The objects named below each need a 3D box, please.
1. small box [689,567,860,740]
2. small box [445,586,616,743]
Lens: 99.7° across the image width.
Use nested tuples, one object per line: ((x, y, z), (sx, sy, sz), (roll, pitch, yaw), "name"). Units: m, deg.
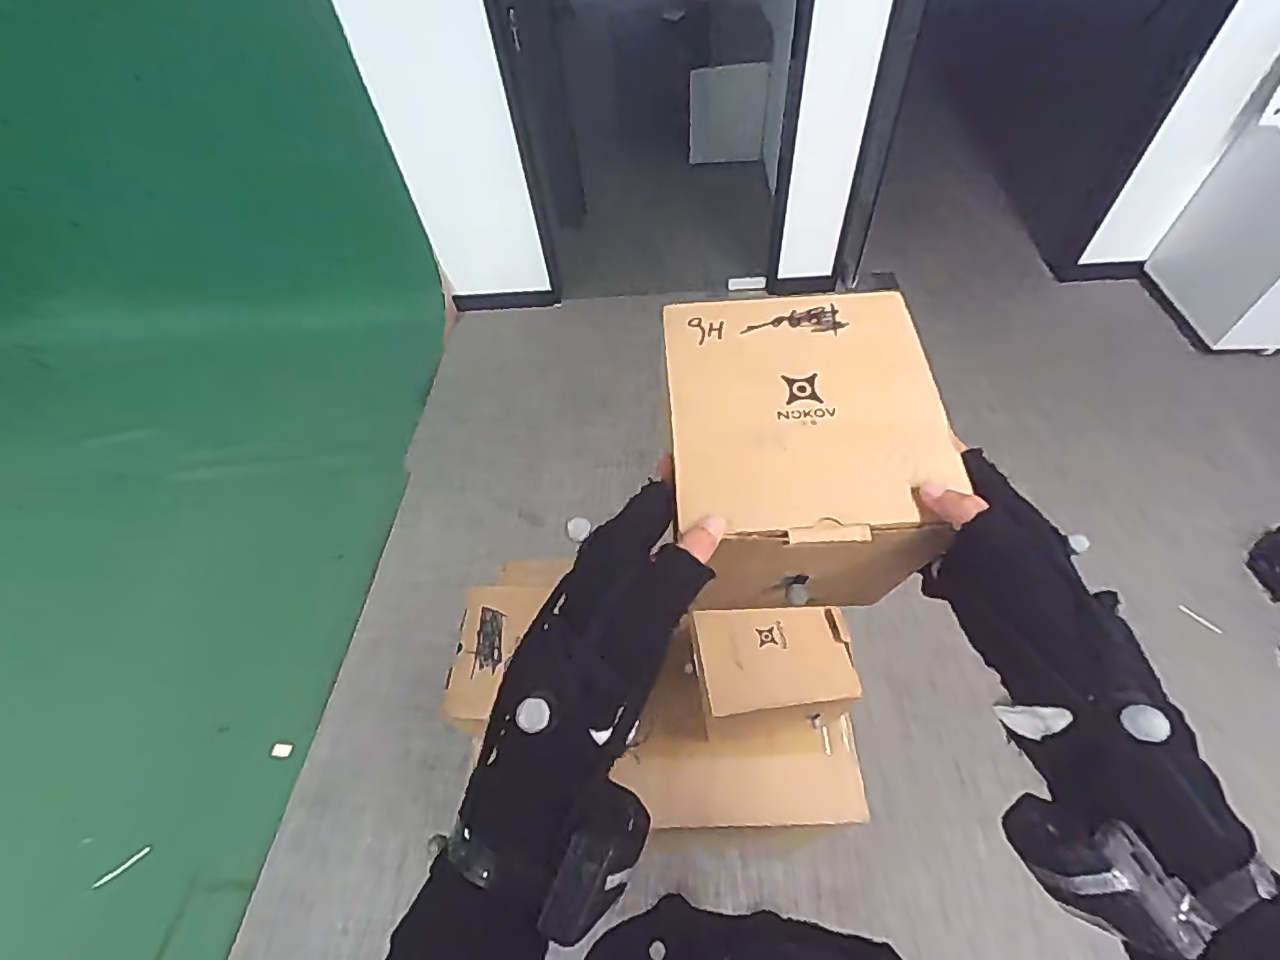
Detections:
((0.164, 0.237, 0.725), (0.179, 0.176, 0.168), (-10, 54, 1), "small box")
((-0.134, 0.257, 0.742), (0.179, 0.176, 0.168), (0, 56, 6), "small box")
